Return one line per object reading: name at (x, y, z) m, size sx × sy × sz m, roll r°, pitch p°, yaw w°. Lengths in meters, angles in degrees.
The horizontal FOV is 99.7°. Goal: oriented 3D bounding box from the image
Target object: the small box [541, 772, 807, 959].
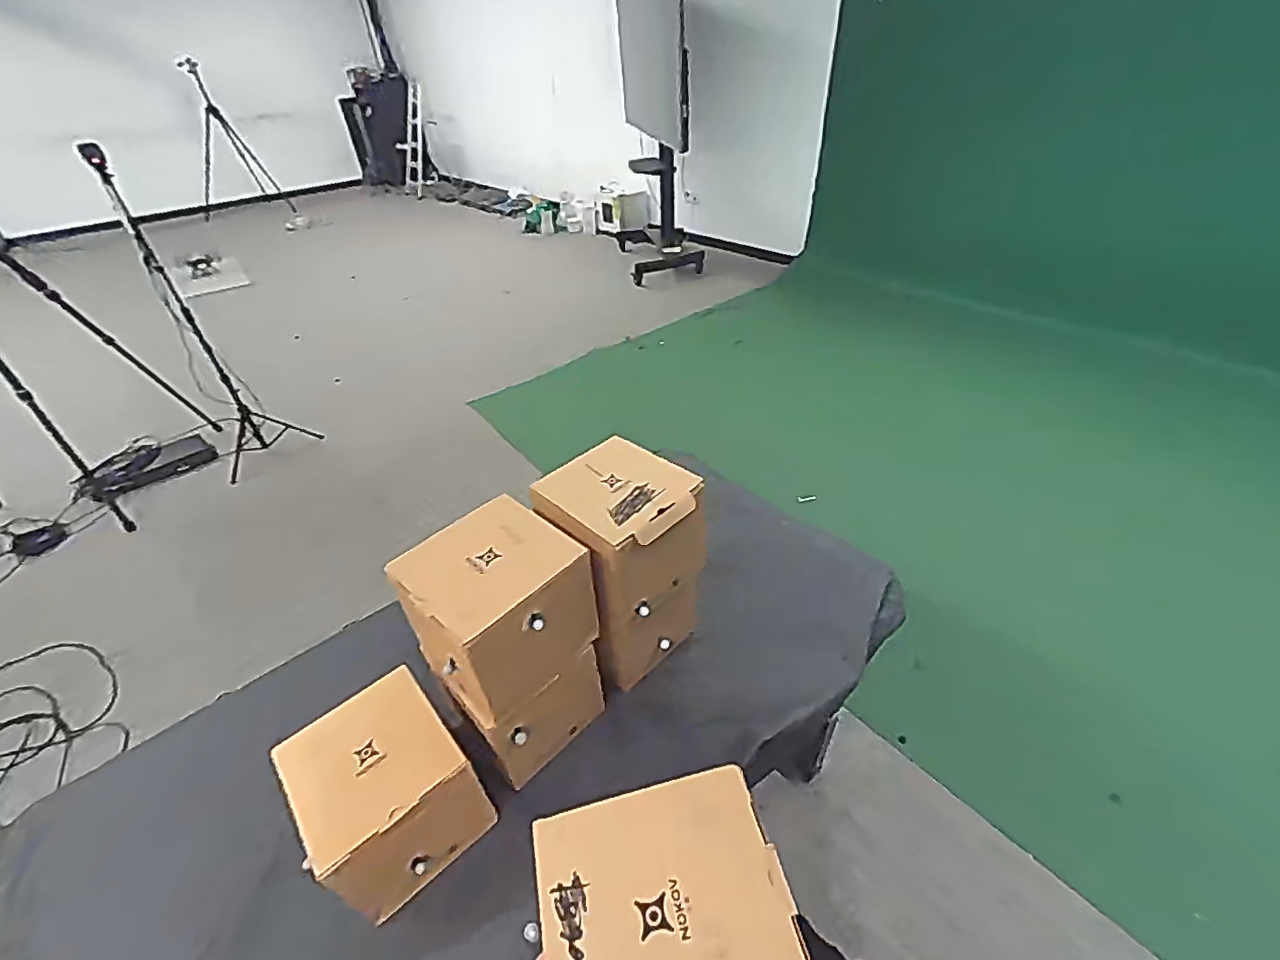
small box at (0.021, 0.371, 0.439) m, size 0.179 × 0.176 × 0.168 m, roll -9°, pitch 41°, yaw -8°
